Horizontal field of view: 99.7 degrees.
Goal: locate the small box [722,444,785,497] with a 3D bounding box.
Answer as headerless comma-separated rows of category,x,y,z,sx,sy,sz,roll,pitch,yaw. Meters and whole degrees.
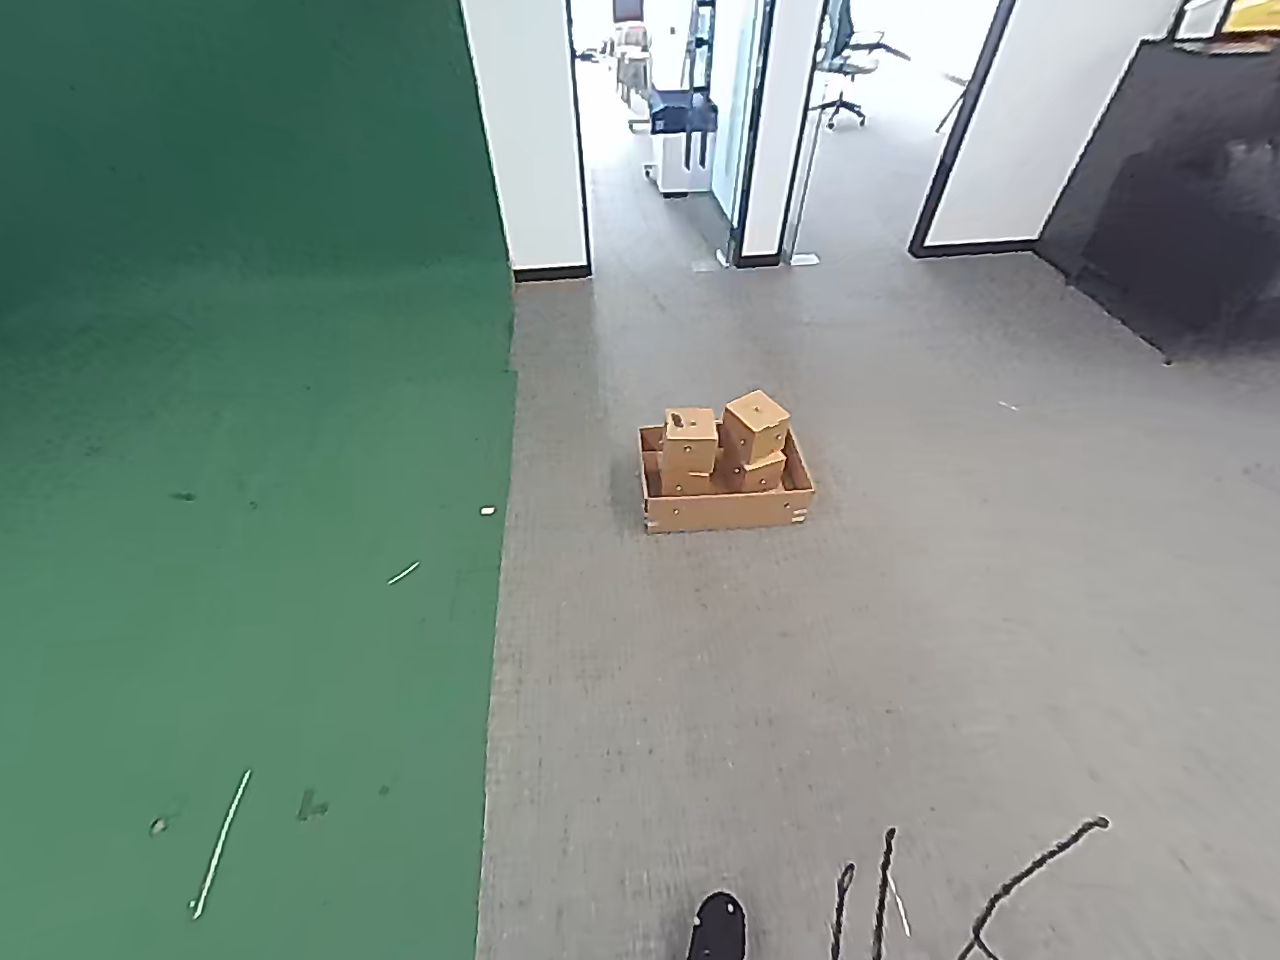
small box,0.430,-0.054,2.077,0.168,0.176,0.179,-16,49,-14

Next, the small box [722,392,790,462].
small box,0.418,-0.186,1.977,0.168,0.176,0.179,-24,52,-20

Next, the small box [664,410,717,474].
small box,0.174,-0.135,1.929,0.179,0.176,0.168,0,47,-1
